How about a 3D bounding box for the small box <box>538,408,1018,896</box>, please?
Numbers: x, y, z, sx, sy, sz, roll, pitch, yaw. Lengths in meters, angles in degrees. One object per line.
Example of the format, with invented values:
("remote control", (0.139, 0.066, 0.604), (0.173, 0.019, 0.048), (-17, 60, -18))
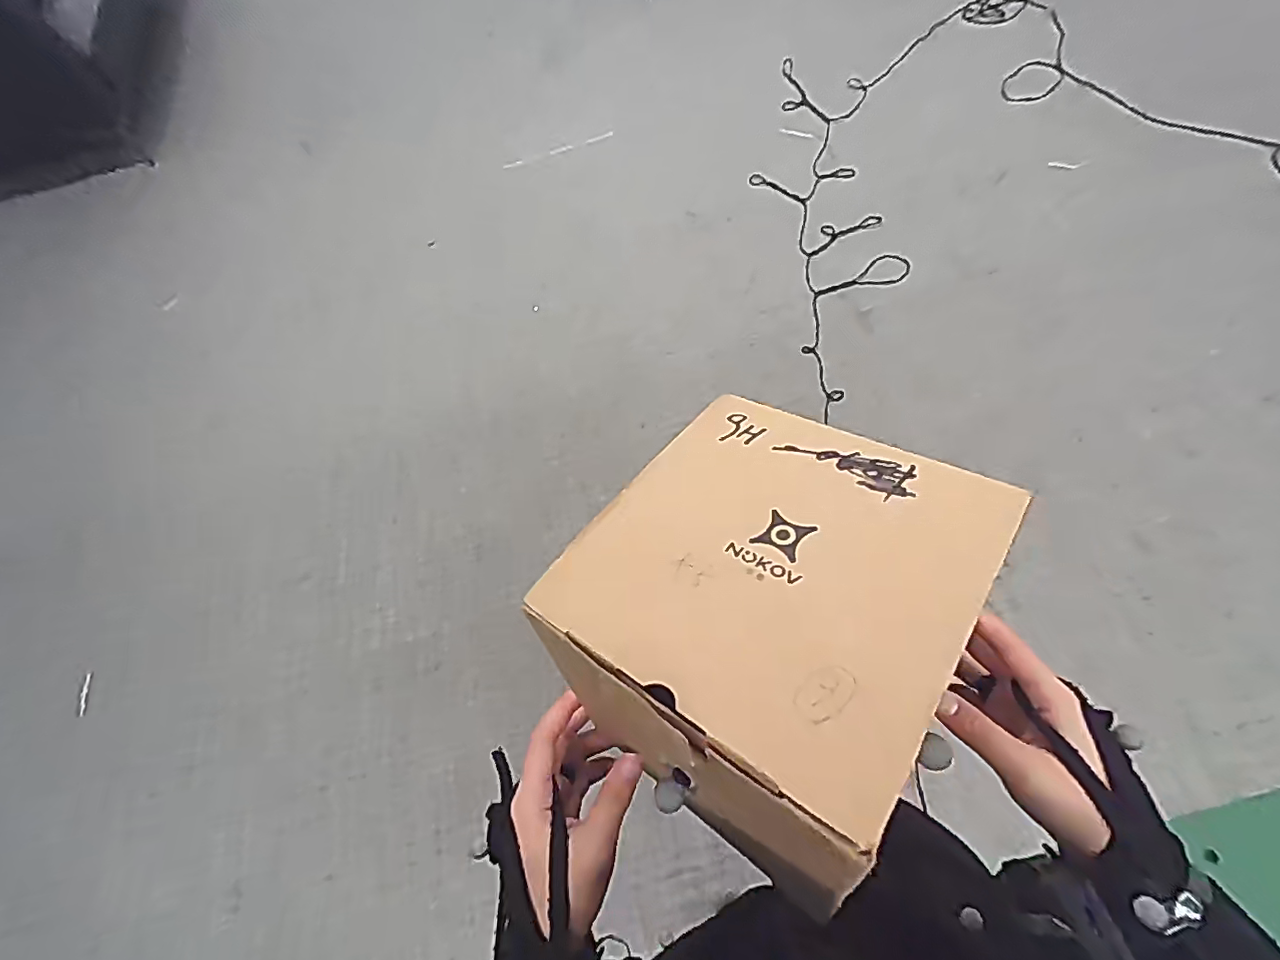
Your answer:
("small box", (0.078, 0.093, 0.313), (0.168, 0.176, 0.179), (25, 57, 32))
